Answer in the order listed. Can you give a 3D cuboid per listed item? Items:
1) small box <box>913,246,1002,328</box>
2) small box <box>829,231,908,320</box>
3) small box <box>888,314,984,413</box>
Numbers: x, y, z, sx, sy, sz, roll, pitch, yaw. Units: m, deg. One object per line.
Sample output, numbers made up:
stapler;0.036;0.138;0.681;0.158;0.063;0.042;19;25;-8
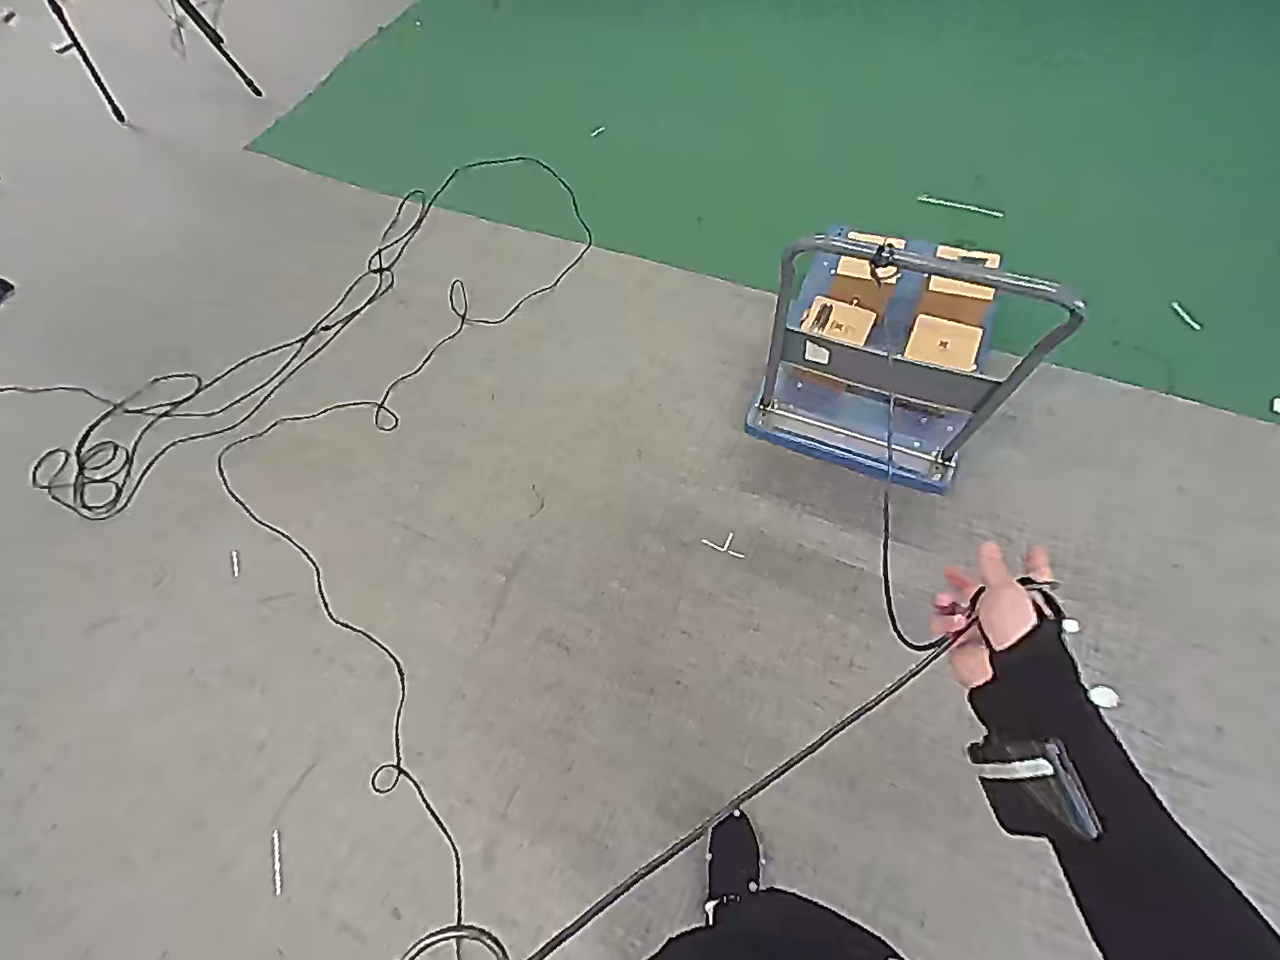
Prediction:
small box;0.919;-0.543;1.575;0.168;0.176;0.179;17;69;16
small box;0.686;-0.614;1.639;0.168;0.176;0.179;18;68;14
small box;0.803;-0.317;1.483;0.168;0.176;0.179;22;70;16
